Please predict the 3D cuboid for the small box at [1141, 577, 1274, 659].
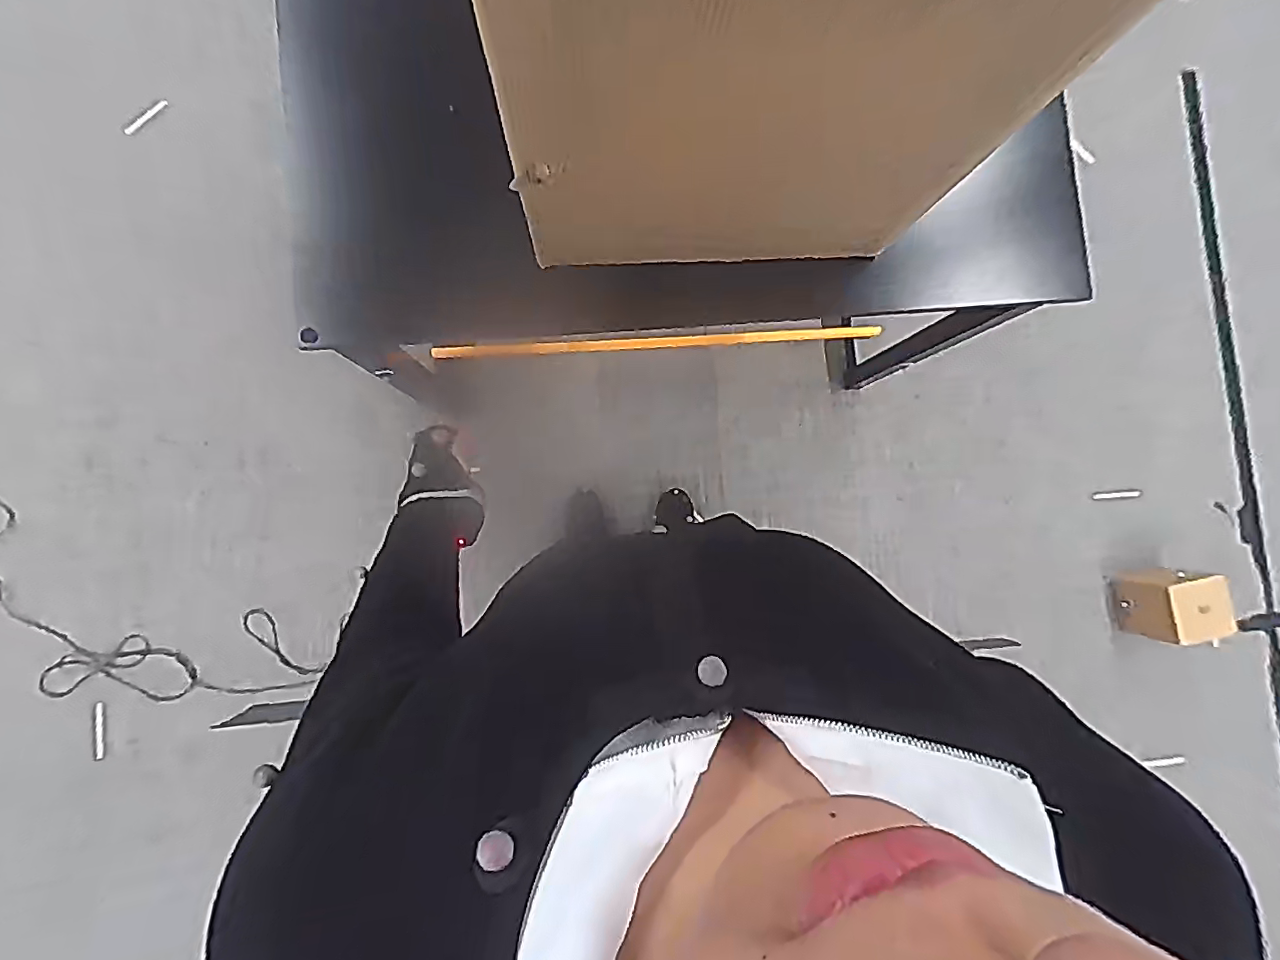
[{"bbox_3d":[1.538,0.370,1.475,0.179,0.176,0.168,-11,88,-4],"label":"small box"}]
